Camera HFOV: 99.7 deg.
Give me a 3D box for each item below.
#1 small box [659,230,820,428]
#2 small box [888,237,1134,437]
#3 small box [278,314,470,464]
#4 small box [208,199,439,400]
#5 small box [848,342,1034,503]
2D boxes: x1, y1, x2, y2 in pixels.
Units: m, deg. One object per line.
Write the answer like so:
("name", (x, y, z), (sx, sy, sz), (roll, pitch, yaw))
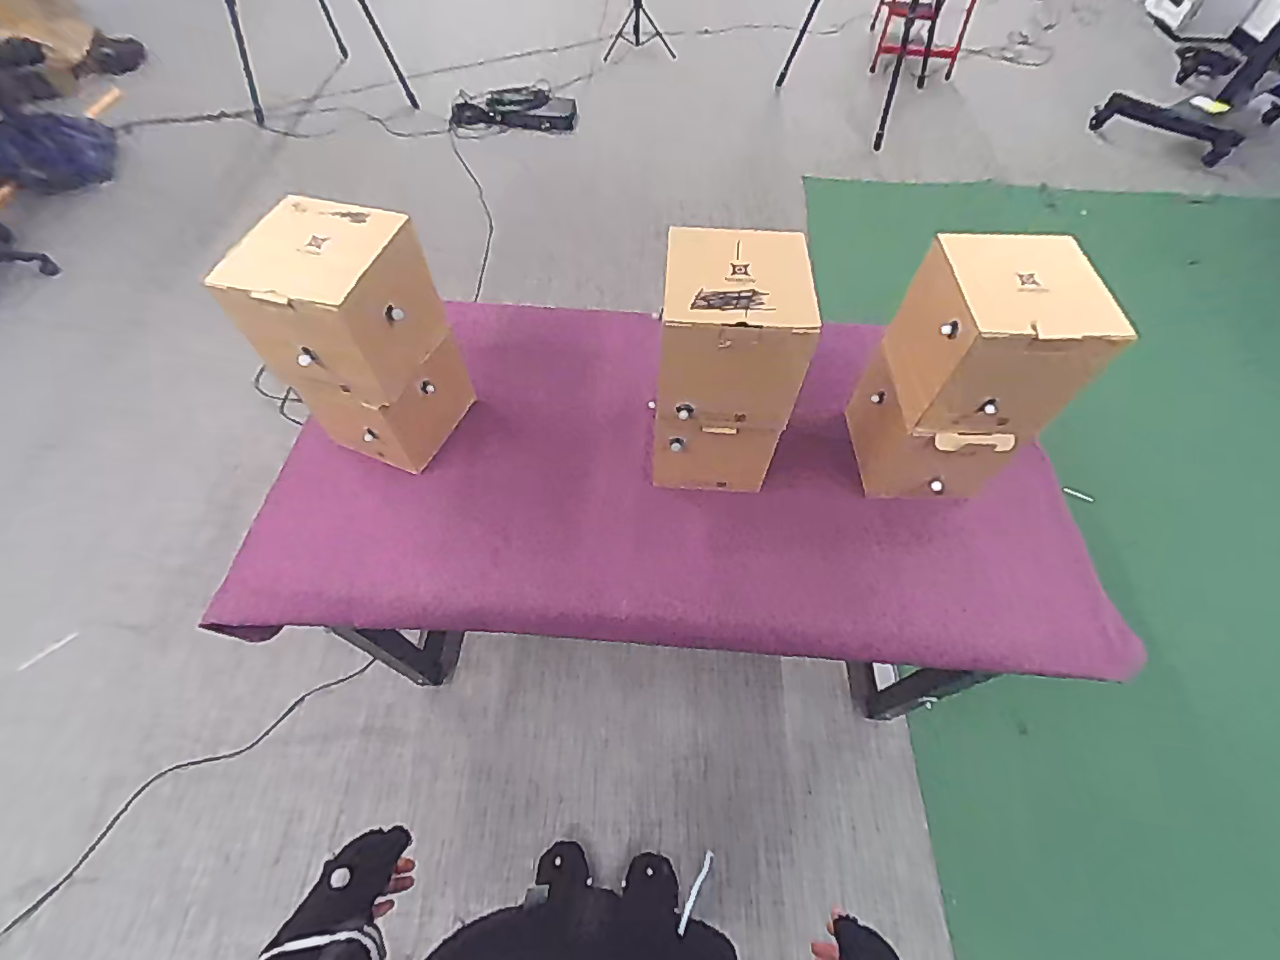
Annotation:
("small box", (0.111, -0.182, 0.673), (0.168, 0.176, 0.179), (4, 56, 1))
("small box", (0.436, -0.174, 0.676), (0.168, 0.176, 0.179), (1, 58, 0))
("small box", (-0.384, -0.151, 0.819), (0.168, 0.176, 0.179), (20, 59, 11))
("small box", (-0.380, -0.226, 0.695), (0.168, 0.176, 0.179), (9, 58, 5))
("small box", (0.430, -0.084, 0.811), (0.168, 0.176, 0.179), (1, 58, 0))
